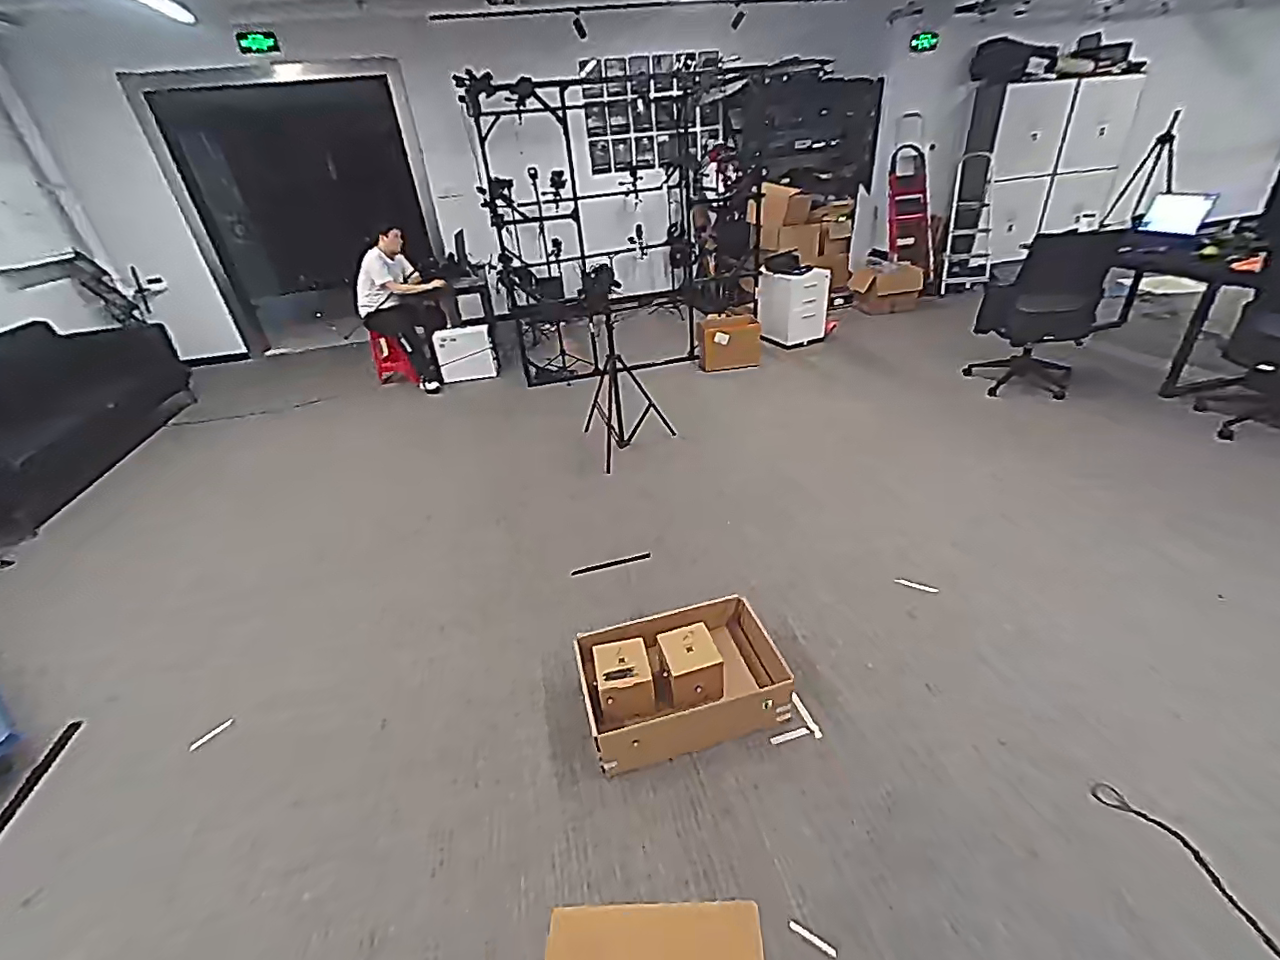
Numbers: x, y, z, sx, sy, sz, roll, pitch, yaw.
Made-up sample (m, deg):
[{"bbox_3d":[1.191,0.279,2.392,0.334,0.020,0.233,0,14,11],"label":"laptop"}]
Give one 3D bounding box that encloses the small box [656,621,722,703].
[{"bbox_3d":[0.160,0.596,1.750,0.168,0.176,0.179,-12,32,-11],"label":"small box"}]
